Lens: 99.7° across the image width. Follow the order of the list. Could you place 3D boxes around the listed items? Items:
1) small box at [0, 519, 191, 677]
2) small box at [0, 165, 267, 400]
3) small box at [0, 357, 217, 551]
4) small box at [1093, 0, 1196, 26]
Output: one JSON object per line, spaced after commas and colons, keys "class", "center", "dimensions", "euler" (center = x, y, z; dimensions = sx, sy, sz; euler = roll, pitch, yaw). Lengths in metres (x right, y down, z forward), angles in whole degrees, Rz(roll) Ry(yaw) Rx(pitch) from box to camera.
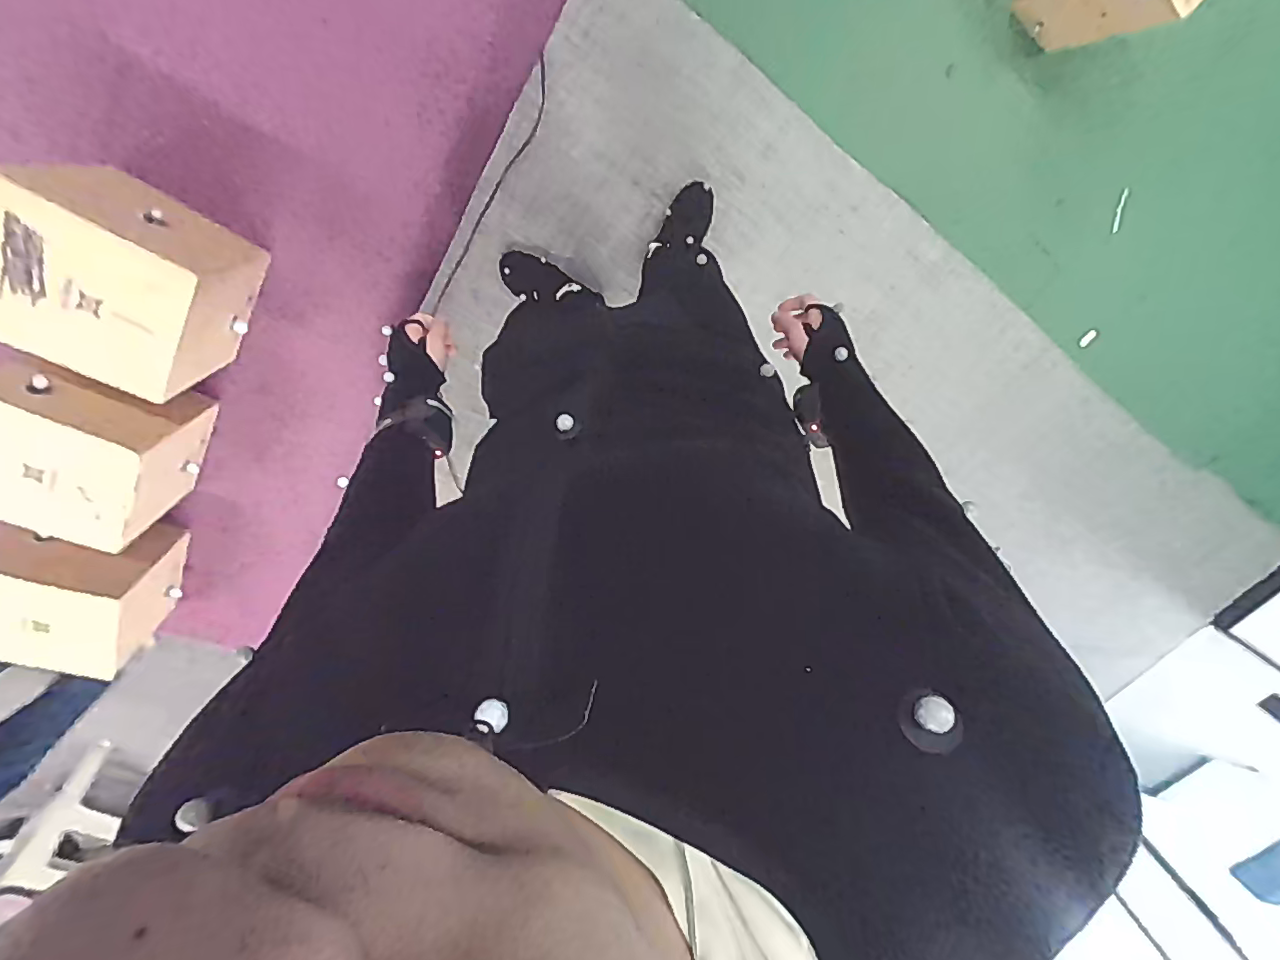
{"class": "small box", "center": [-0.817, 0.154, 0.794], "dimensions": [0.179, 0.176, 0.168], "euler": [20, 116, -21]}
{"class": "small box", "center": [-0.574, -0.224, 0.612], "dimensions": [0.179, 0.176, 0.168], "euler": [27, 113, -23]}
{"class": "small box", "center": [-0.703, -0.045, 0.695], "dimensions": [0.179, 0.176, 0.168], "euler": [26, 113, -22]}
{"class": "small box", "center": [1.017, -1.036, 1.042], "dimensions": [0.168, 0.176, 0.179], "euler": [29, 111, -23]}
